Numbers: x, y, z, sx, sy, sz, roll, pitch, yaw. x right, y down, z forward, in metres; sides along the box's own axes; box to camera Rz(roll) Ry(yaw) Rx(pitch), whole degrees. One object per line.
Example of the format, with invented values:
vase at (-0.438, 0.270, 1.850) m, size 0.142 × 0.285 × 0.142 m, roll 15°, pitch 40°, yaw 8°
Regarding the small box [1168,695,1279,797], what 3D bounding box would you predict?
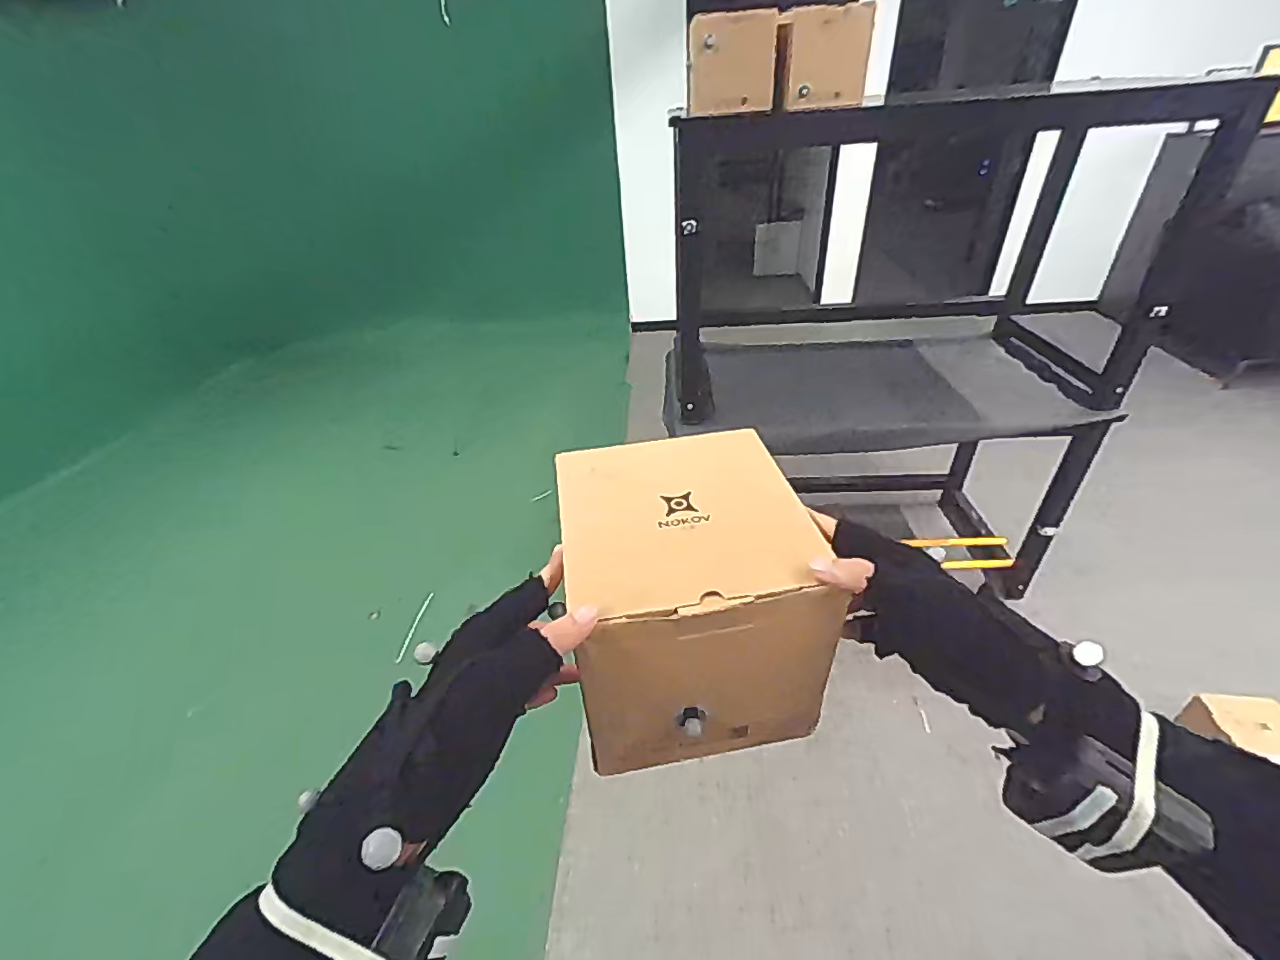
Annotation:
small box at (1.513, 0.672, 1.365) m, size 0.179 × 0.176 × 0.168 m, roll 2°, pitch 35°, yaw 9°
